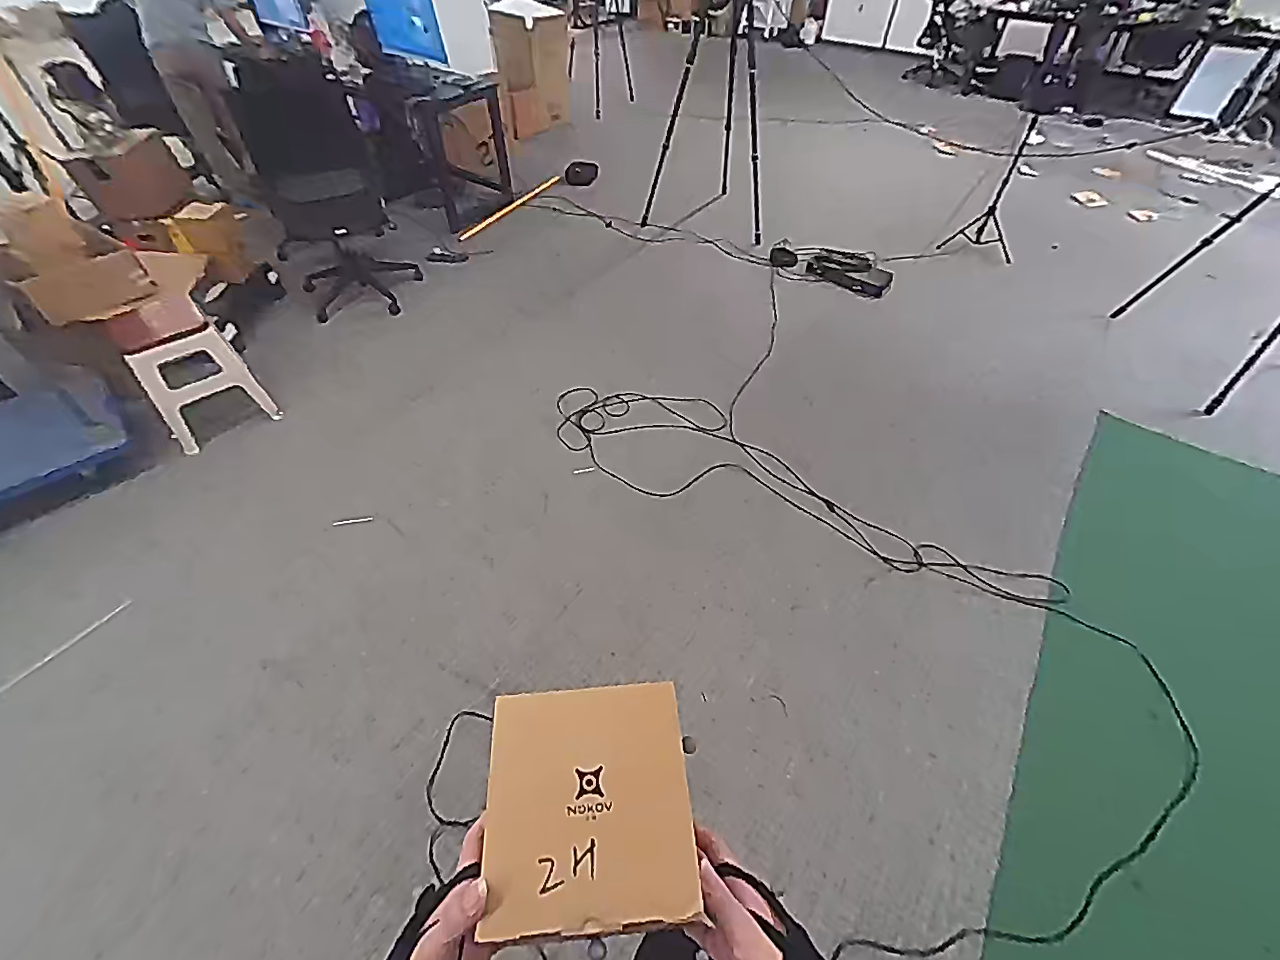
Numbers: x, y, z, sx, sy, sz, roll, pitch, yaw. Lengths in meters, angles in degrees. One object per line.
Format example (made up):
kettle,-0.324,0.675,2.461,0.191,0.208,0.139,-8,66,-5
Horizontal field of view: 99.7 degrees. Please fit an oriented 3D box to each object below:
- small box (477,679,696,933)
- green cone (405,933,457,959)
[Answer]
small box,-0.046,0.310,0.514,0.168,0.176,0.179,-3,50,-3
green cone,-0.456,1.019,1.021,0.200,0.368,0.202,30,54,22
